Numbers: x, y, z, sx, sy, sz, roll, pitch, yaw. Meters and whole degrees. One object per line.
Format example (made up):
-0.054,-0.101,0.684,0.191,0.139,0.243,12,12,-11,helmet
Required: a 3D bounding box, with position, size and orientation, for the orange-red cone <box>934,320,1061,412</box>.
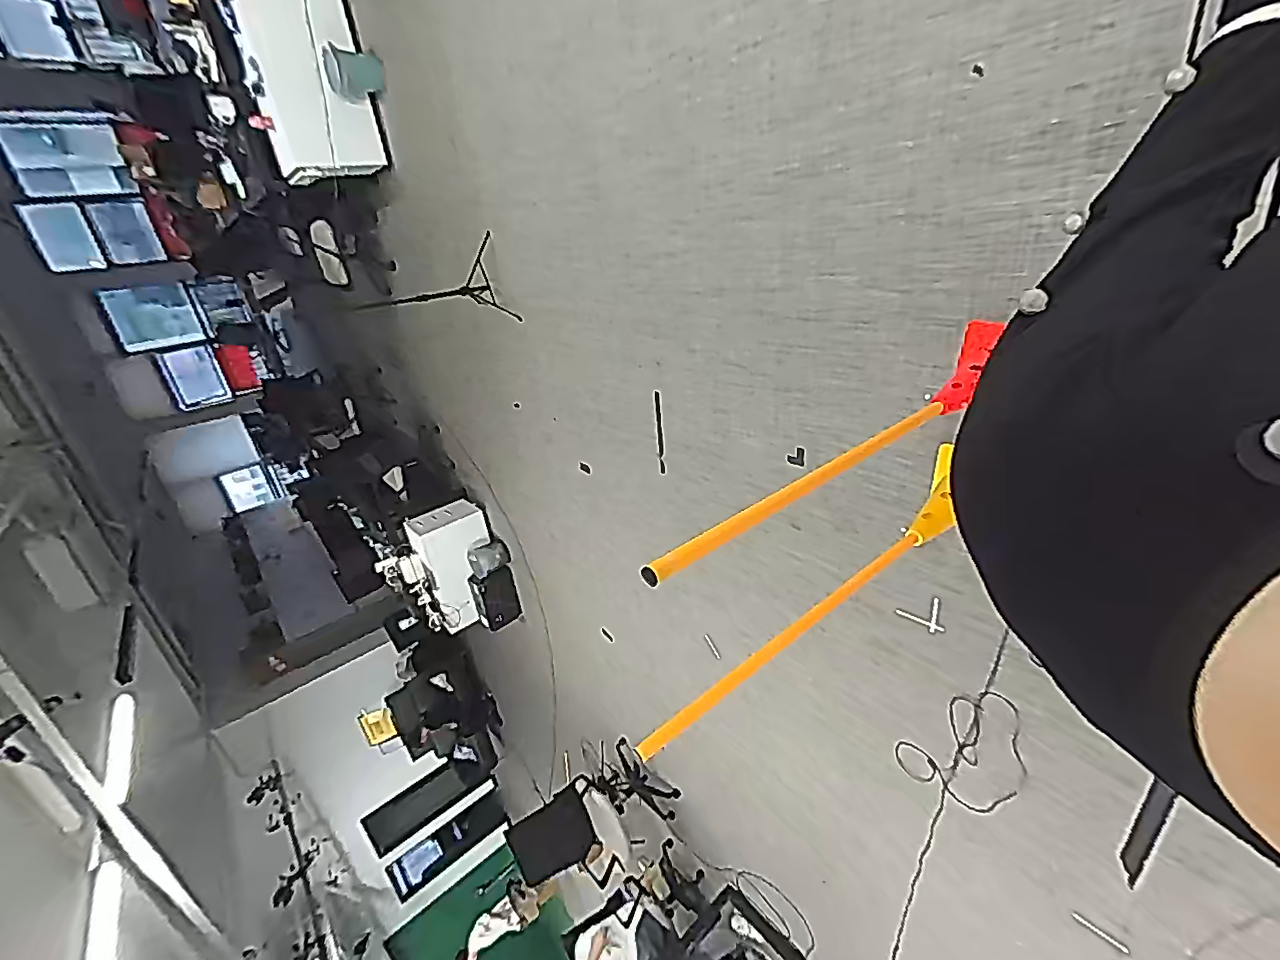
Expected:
0.756,-0.221,1.218,0.198,0.360,0.199,29,131,41,orange-red cone
